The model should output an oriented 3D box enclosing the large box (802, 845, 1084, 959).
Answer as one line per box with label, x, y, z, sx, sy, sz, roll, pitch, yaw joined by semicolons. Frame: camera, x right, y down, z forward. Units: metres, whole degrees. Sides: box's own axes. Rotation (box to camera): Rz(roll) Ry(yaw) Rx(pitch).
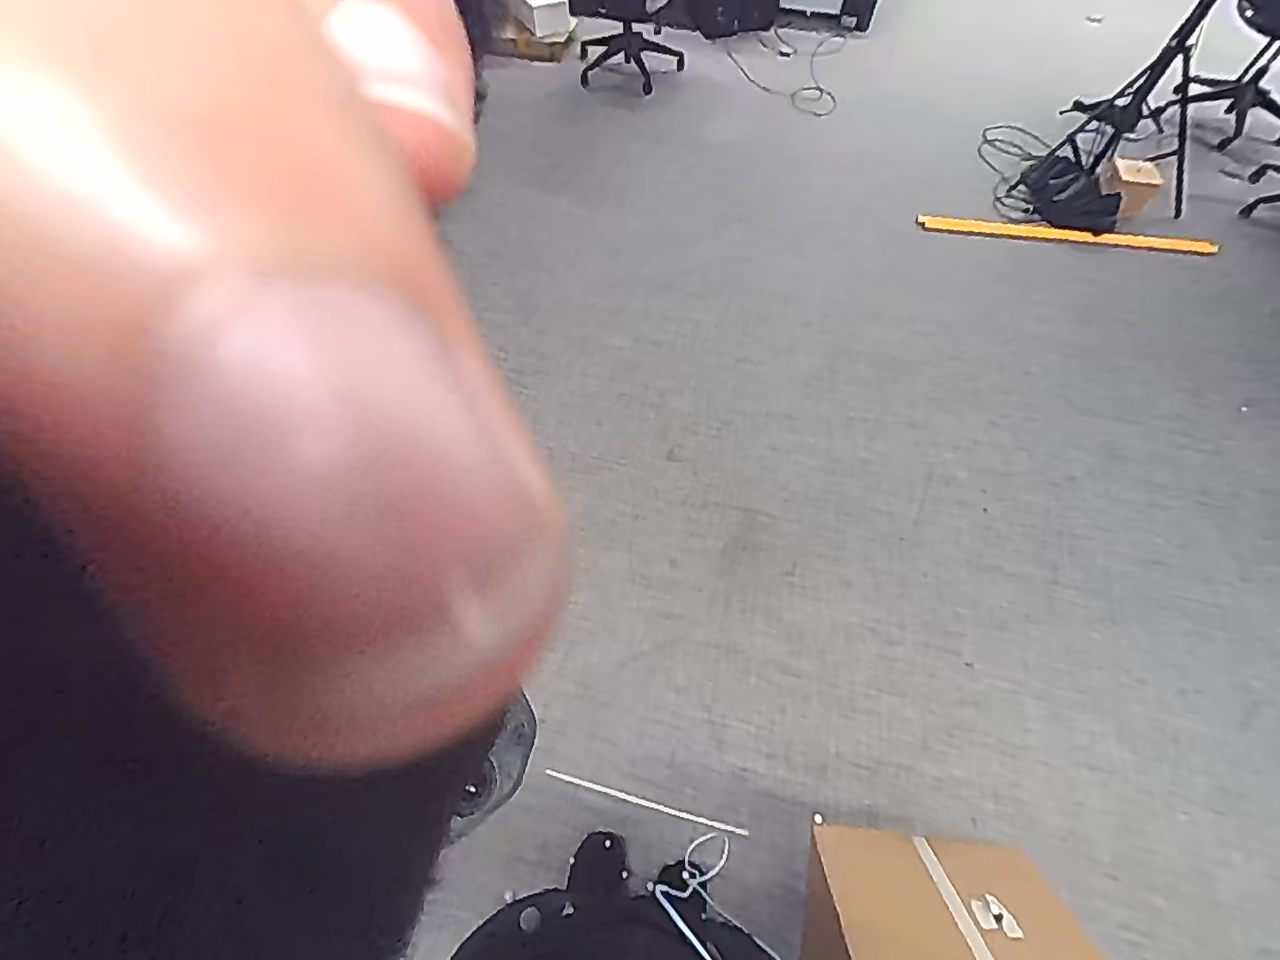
large box;0.392;0.743;0.649;0.320;0.408;0.320;5;95;5
